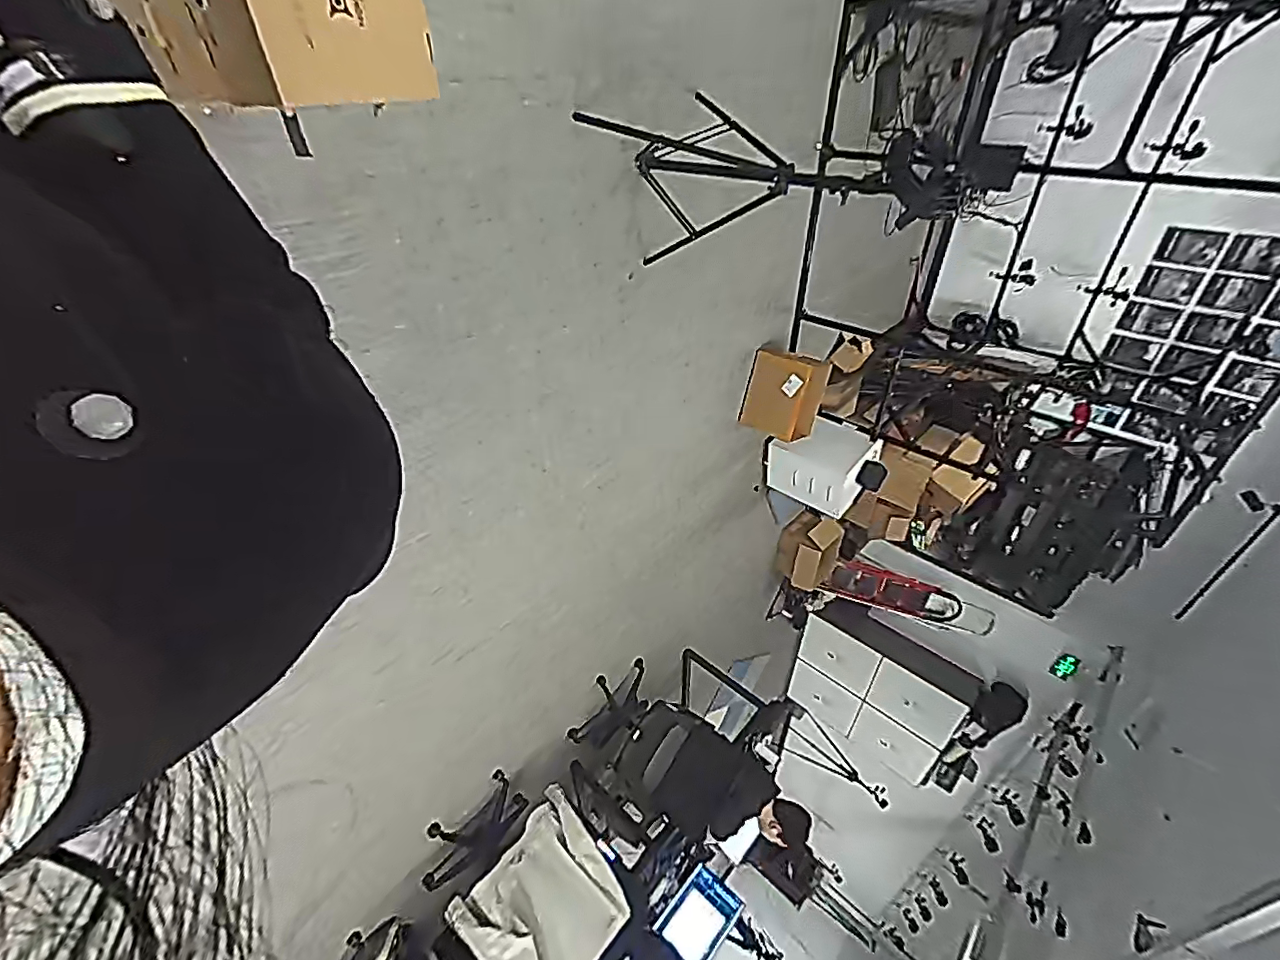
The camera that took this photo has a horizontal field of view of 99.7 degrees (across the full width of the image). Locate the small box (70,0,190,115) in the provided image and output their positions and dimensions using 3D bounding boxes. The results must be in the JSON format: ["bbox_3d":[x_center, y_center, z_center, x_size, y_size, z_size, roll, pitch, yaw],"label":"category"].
[{"bbox_3d":[-0.833,-0.747,0.939,0.168,0.176,0.179,-33,137,-36],"label":"small box"}]

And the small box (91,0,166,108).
[{"bbox_3d":[-0.715,-0.687,0.842,0.168,0.176,0.179,-30,135,-37],"label":"small box"}]

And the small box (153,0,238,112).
[{"bbox_3d":[-0.470,-0.556,0.667,0.179,0.176,0.168,-33,137,-37],"label":"small box"}]

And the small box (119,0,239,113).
[{"bbox_3d":[-0.593,-0.617,0.759,0.179,0.176,0.168,-31,136,-36],"label":"small box"}]

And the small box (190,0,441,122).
[{"bbox_3d":[-0.351,-0.490,0.580,0.179,0.176,0.168,-33,136,-34],"label":"small box"}]
